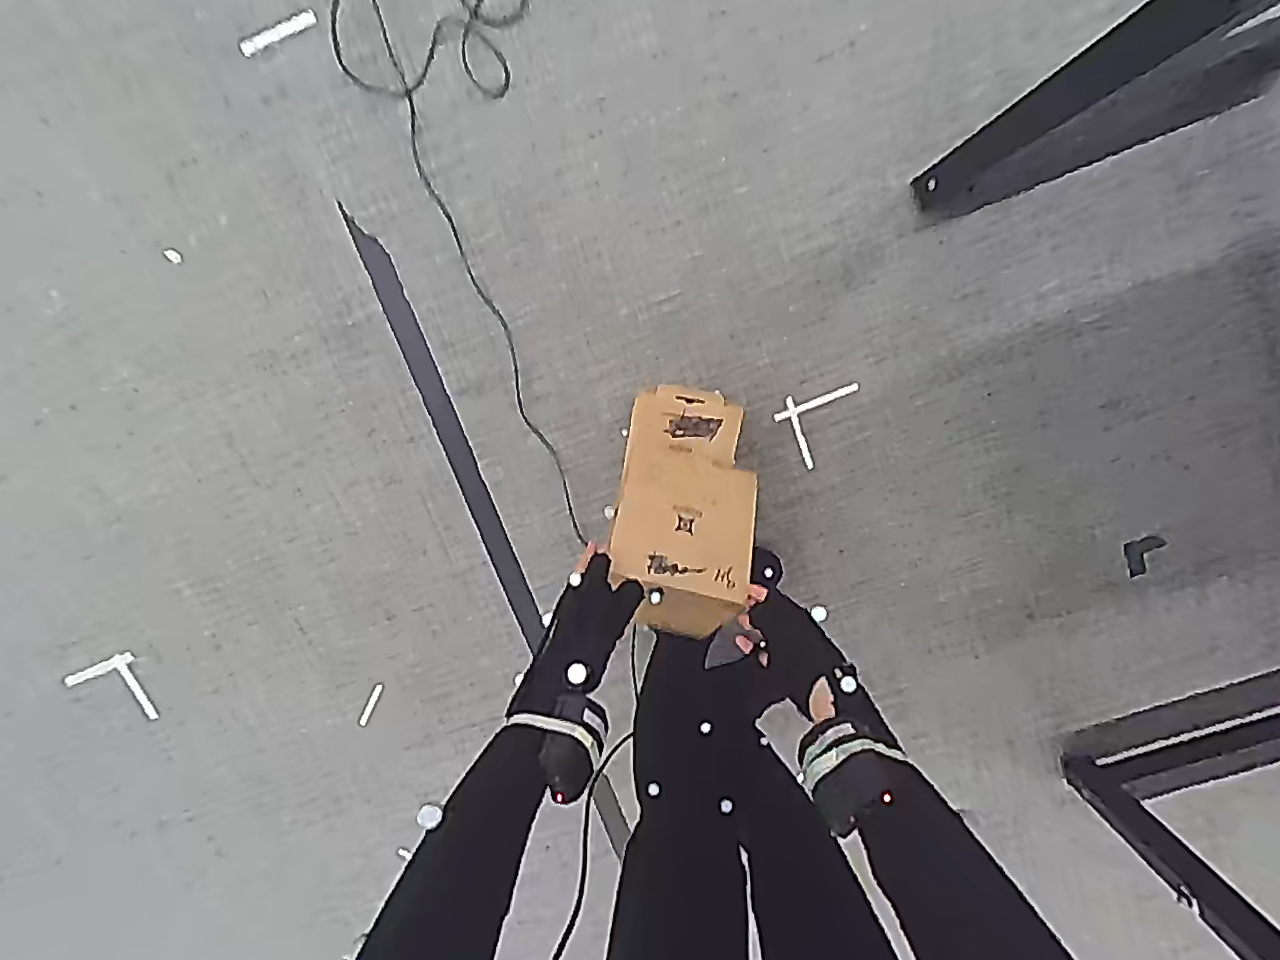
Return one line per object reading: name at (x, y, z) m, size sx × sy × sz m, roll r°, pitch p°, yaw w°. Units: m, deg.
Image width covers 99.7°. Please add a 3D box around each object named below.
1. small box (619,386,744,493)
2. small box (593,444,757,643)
small box at (0.065, -0.057, 0.902) m, size 0.168 × 0.176 × 0.179 m, roll 11°, pitch 102°, yaw 1°
small box at (0.041, 0.087, 0.697) m, size 0.168 × 0.179 × 0.176 m, roll 14°, pitch 146°, yaw -3°
